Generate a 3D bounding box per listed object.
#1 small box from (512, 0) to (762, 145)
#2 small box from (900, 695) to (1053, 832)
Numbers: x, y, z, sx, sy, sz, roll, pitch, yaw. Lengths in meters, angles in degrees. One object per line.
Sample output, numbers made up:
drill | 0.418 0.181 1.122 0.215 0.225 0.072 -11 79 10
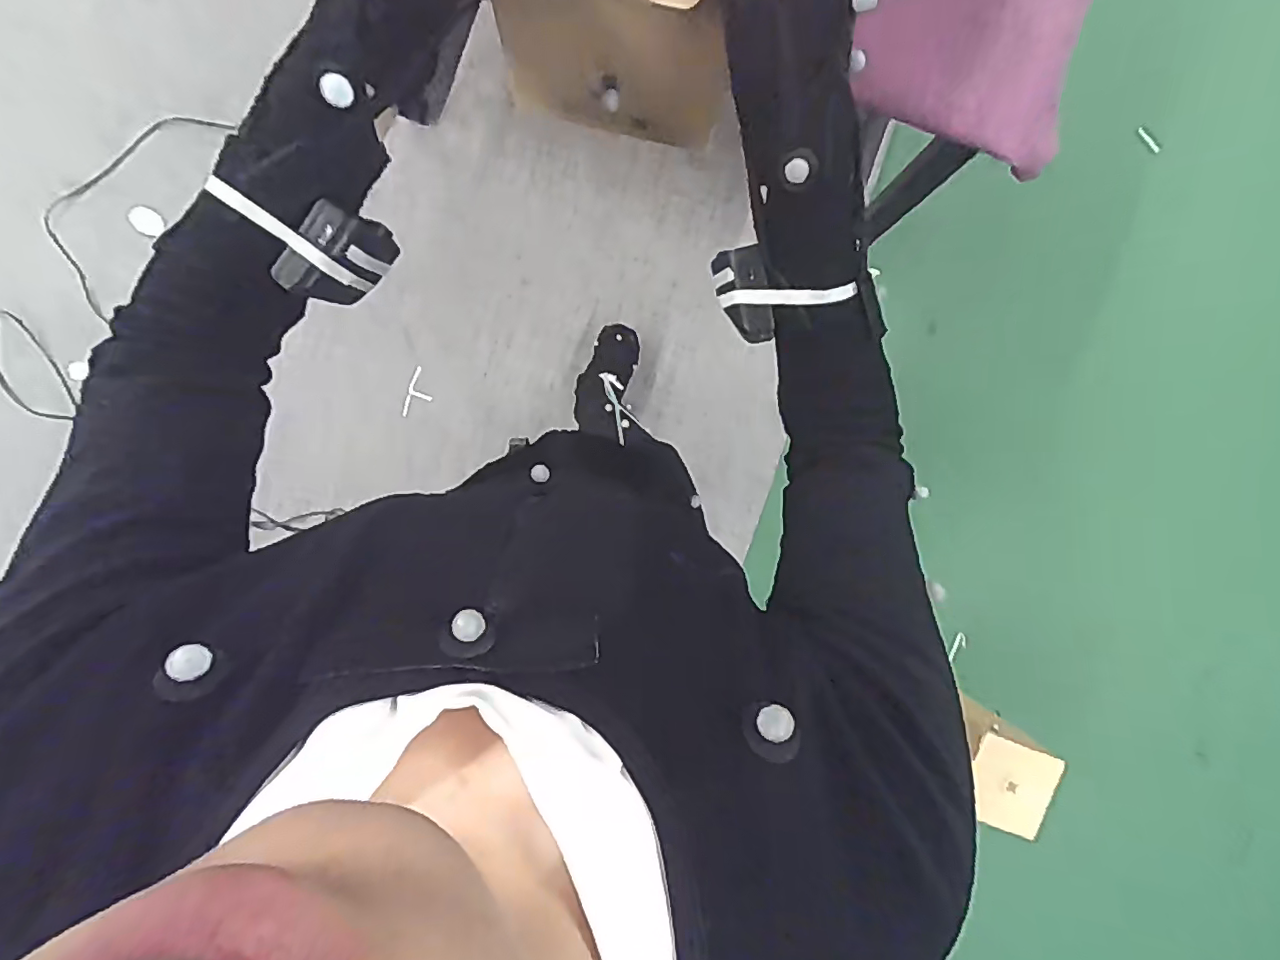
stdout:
small box | 0.004 -0.383 0.376 0.168 0.176 0.179 11 91 -4
small box | 0.685 0.576 1.121 0.179 0.176 0.168 21 92 -5
